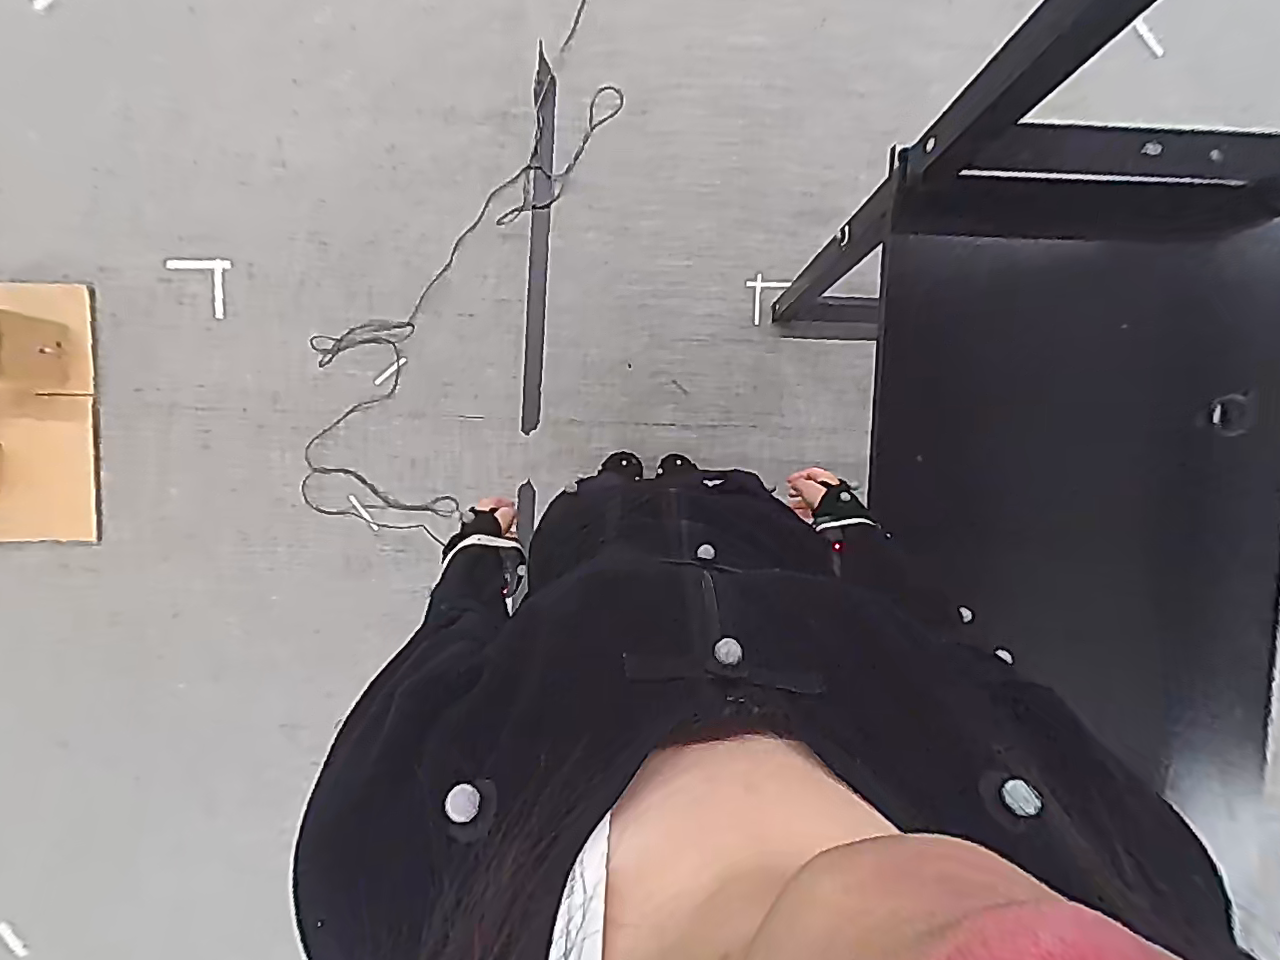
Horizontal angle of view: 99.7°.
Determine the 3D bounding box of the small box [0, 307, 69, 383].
[{"bbox_3d":[-1.622,-0.340,1.372,0.179,0.176,0.168,2,94,-2],"label":"small box"}]
